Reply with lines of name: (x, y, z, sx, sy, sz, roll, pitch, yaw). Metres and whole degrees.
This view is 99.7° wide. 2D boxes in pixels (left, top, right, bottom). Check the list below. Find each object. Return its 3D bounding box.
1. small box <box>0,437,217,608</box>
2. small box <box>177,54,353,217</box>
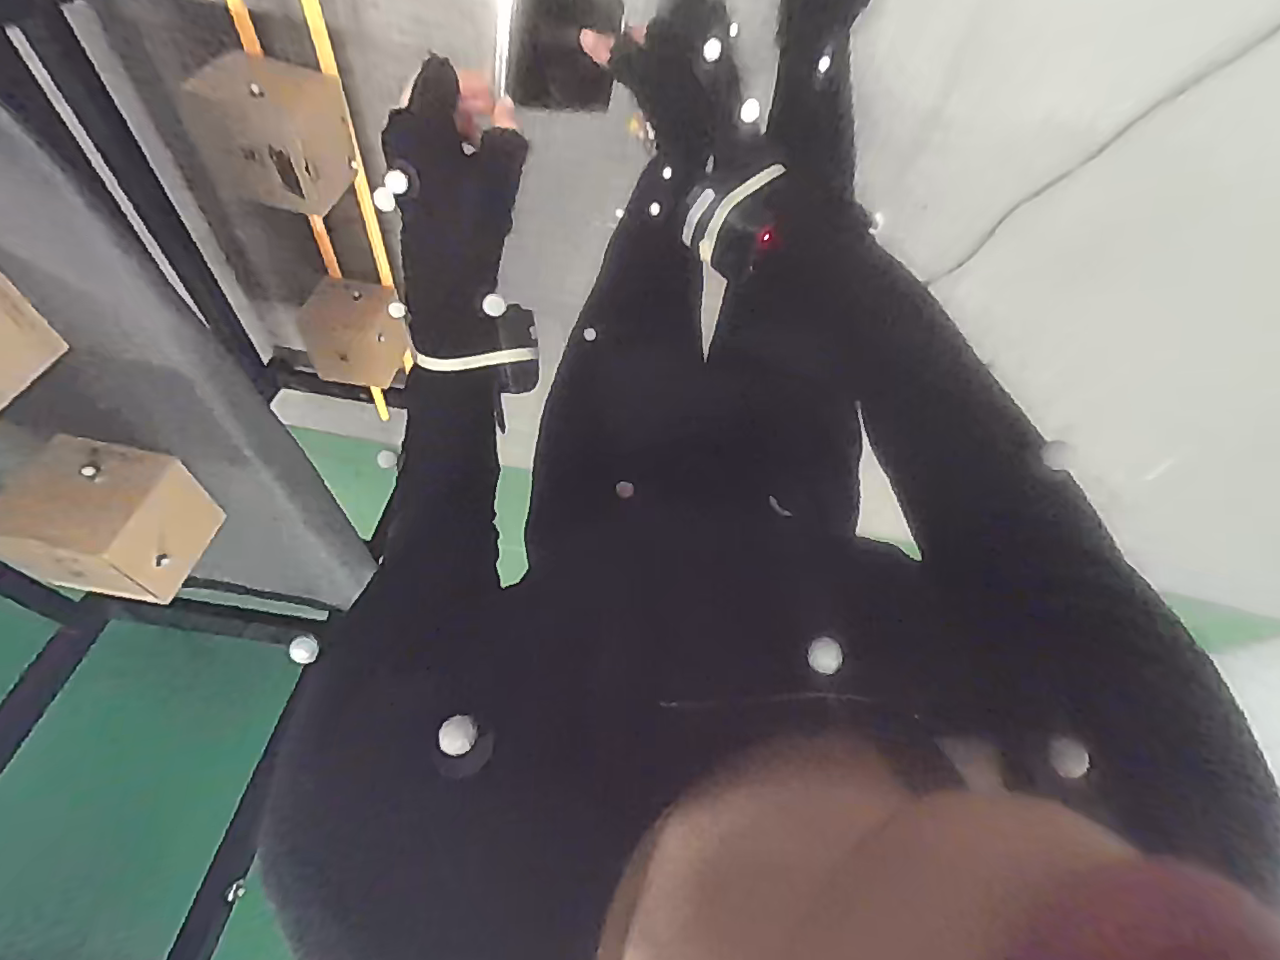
small box: (-0.779, 0.065, 0.795, 0.168, 0.176, 0.179, 12, 145, -5)
small box: (-0.619, -0.590, 0.927, 0.179, 0.176, 0.168, 12, 144, -6)
